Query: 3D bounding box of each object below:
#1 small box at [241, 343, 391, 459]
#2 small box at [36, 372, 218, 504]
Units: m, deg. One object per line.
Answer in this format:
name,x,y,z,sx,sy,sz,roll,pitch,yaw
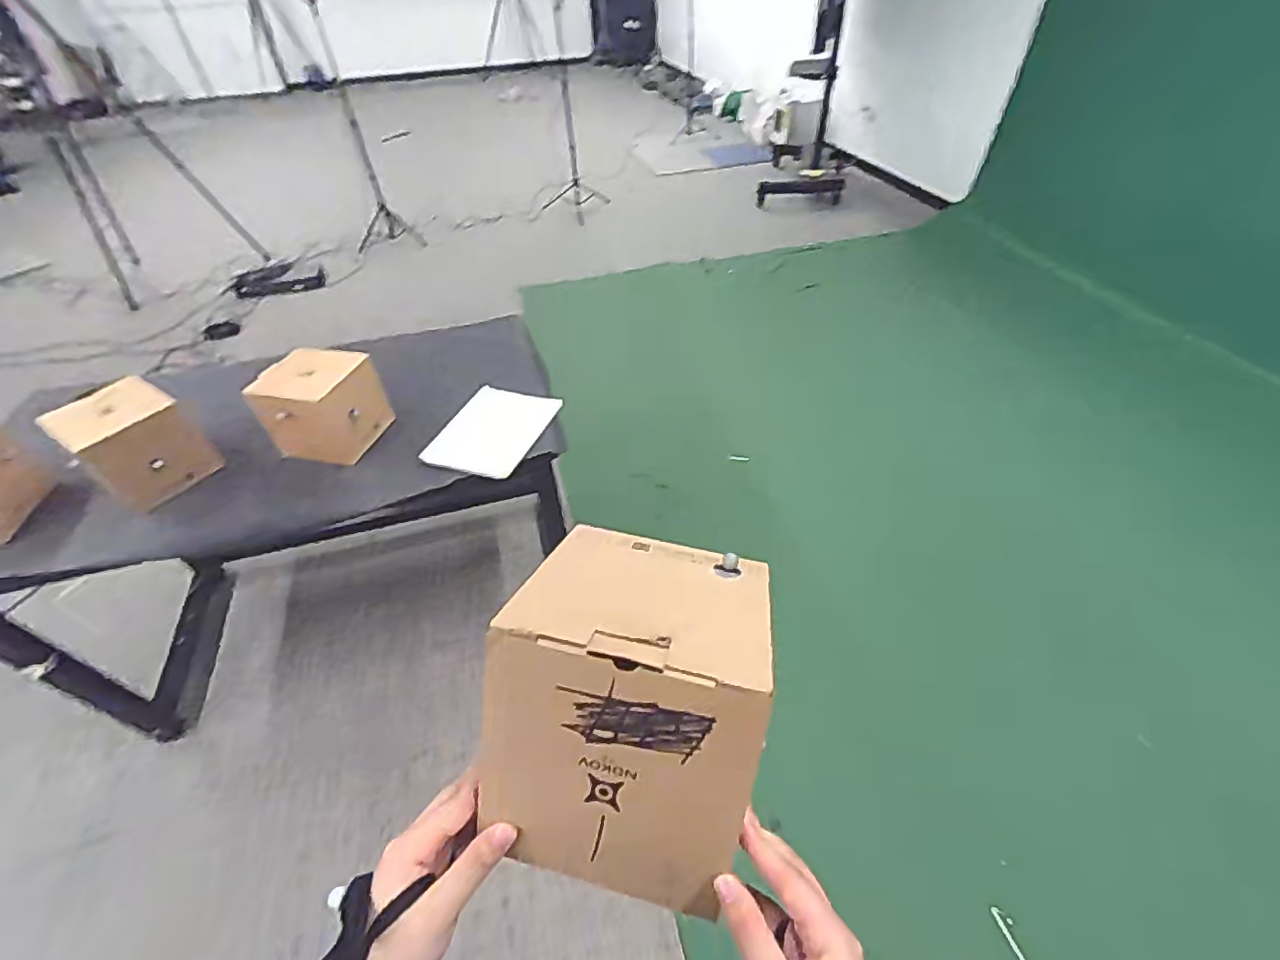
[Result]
small box,-0.654,-0.162,1.121,0.179,0.176,0.168,8,46,11
small box,-0.981,-0.078,1.051,0.179,0.176,0.168,24,50,24
